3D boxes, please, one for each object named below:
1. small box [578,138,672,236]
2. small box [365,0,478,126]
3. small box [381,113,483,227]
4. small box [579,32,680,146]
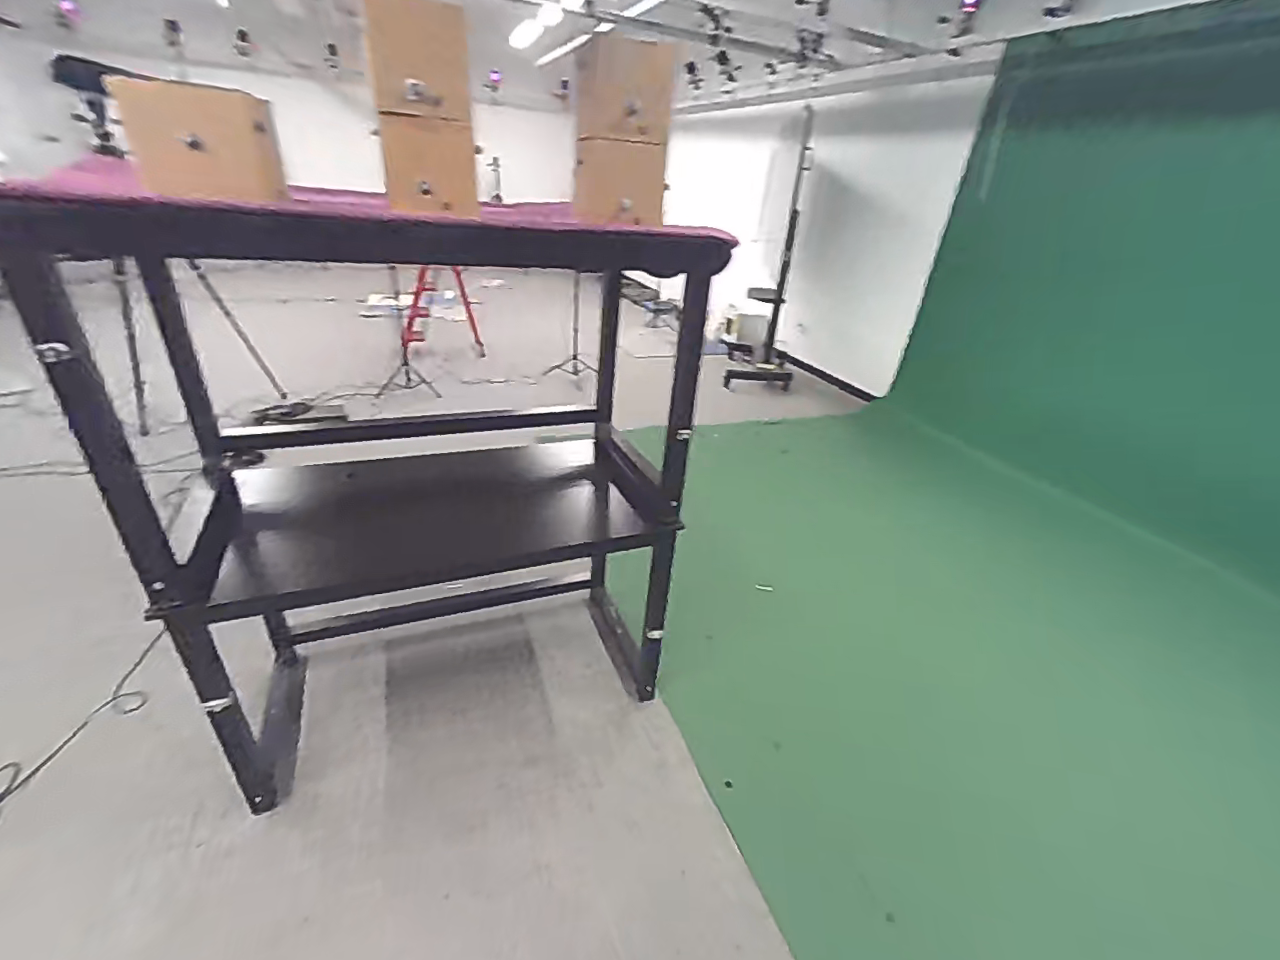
[{"bbox_3d":[-0.042,-0.644,1.192,0.168,0.176,0.179,-5,31,-17],"label":"small box"},{"bbox_3d":[-0.393,-0.740,0.976,0.168,0.176,0.179,-9,32,-22],"label":"small box"},{"bbox_3d":[-0.402,-0.600,1.059,0.168,0.176,0.179,-5,30,-18],"label":"small box"},{"bbox_3d":[-0.030,-0.789,1.114,0.168,0.176,0.179,-6,31,-17],"label":"small box"}]
